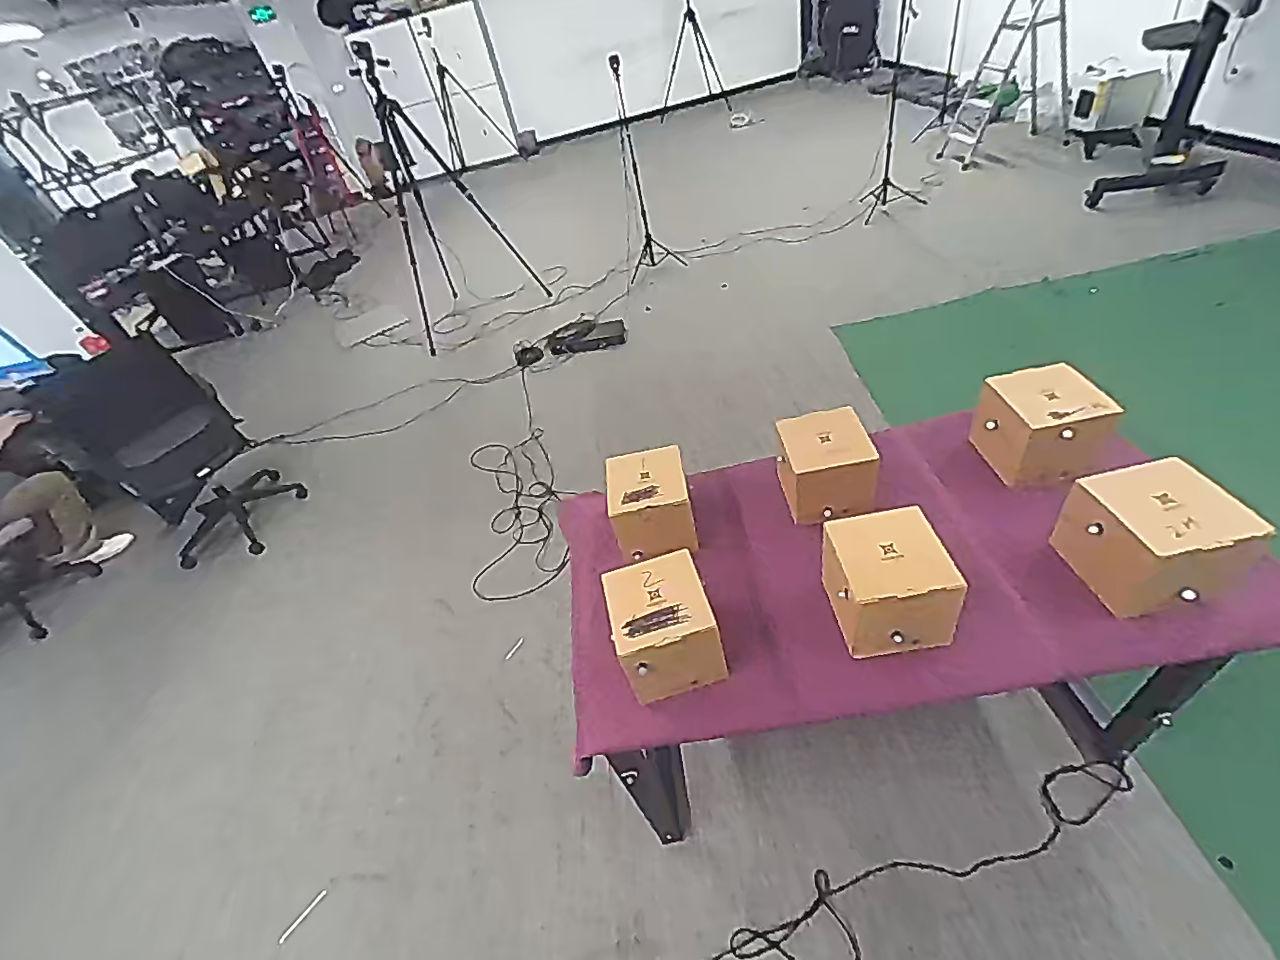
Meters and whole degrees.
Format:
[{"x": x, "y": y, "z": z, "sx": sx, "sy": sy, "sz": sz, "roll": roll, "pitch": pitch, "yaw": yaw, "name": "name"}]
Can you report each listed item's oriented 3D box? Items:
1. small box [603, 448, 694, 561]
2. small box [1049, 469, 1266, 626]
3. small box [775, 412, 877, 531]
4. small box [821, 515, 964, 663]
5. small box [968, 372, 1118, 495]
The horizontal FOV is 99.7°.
[{"x": 0.020, "y": 0.061, "z": 1.176, "sx": 0.168, "sy": 0.176, "sz": 0.179, "roll": -10, "pitch": 44, "yaw": 4, "name": "small box"}, {"x": 0.831, "y": 0.112, "z": 0.898, "sx": 0.168, "sy": 0.176, "sz": 0.179, "roll": -13, "pitch": 43, "yaw": 4, "name": "small box"}, {"x": 0.389, "y": -0.017, "z": 1.162, "sx": 0.168, "sy": 0.176, "sz": 0.179, "roll": -10, "pitch": 44, "yaw": 6, "name": "small box"}, {"x": 0.420, "y": 0.190, "z": 0.937, "sx": 0.168, "sy": 0.176, "sz": 0.179, "roll": -10, "pitch": 42, "yaw": 4, "name": "small box"}, {"x": 0.816, "y": -0.095, "z": 1.122, "sx": 0.168, "sy": 0.176, "sz": 0.179, "roll": -11, "pitch": 43, "yaw": 5, "name": "small box"}]
